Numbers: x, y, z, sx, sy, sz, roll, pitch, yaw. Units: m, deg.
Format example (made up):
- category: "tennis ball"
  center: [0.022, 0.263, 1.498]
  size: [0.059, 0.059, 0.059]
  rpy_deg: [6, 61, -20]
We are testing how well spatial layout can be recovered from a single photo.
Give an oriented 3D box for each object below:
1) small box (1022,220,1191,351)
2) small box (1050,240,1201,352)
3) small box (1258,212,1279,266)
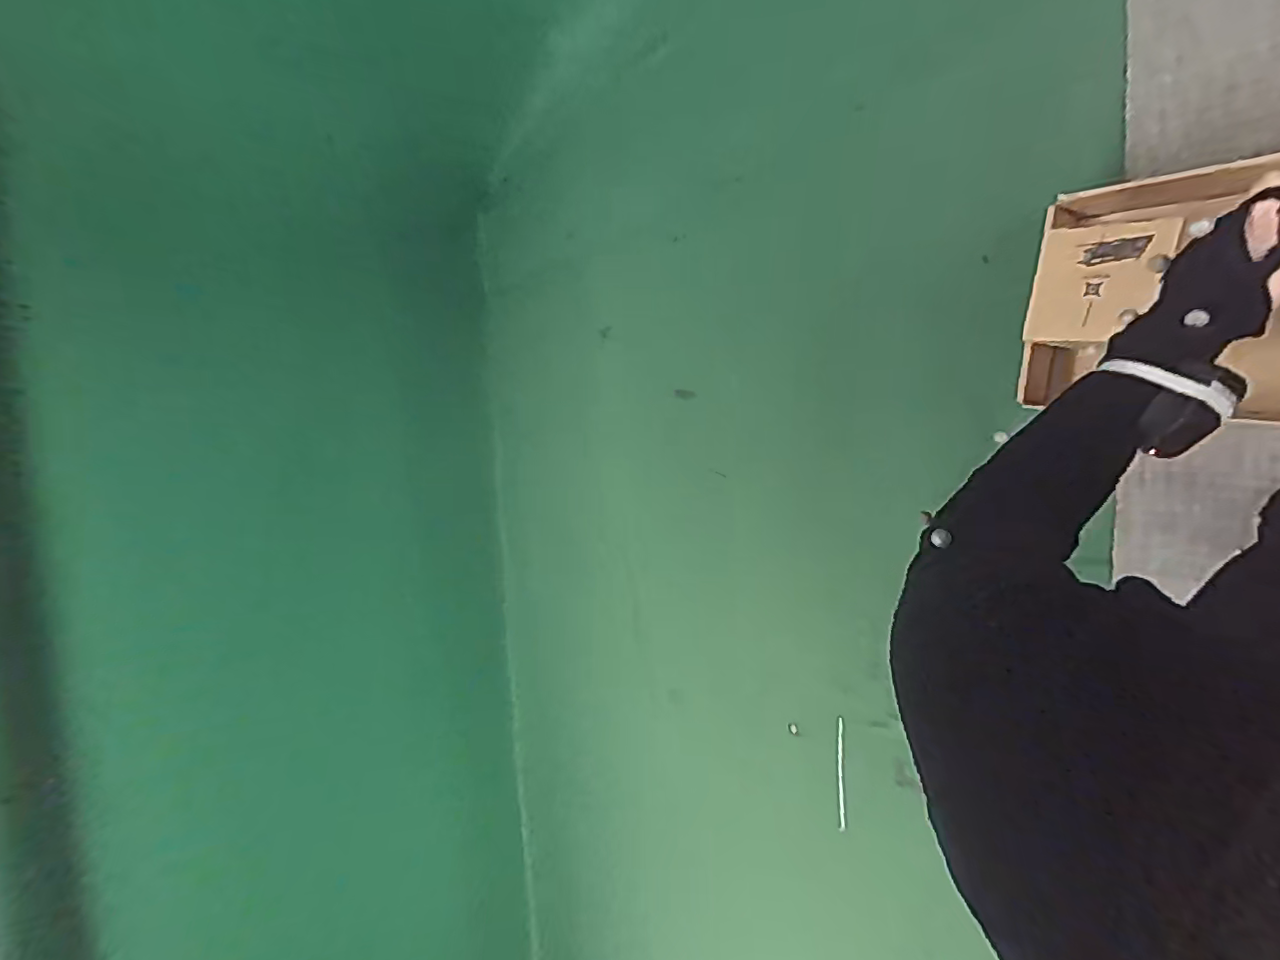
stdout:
- category: "small box"
  center: [0.764, -0.308, 0.886]
  size: [0.168, 0.176, 0.179]
  rpy_deg: [19, 112, 48]
- category: "small box"
  center: [0.889, -0.328, 0.990]
  size: [0.168, 0.176, 0.179]
  rpy_deg: [17, 108, 48]
- category: "small box"
  center: [0.593, -0.183, 0.361]
  size: [0.179, 0.176, 0.168]
  rpy_deg: [52, 156, 3]
